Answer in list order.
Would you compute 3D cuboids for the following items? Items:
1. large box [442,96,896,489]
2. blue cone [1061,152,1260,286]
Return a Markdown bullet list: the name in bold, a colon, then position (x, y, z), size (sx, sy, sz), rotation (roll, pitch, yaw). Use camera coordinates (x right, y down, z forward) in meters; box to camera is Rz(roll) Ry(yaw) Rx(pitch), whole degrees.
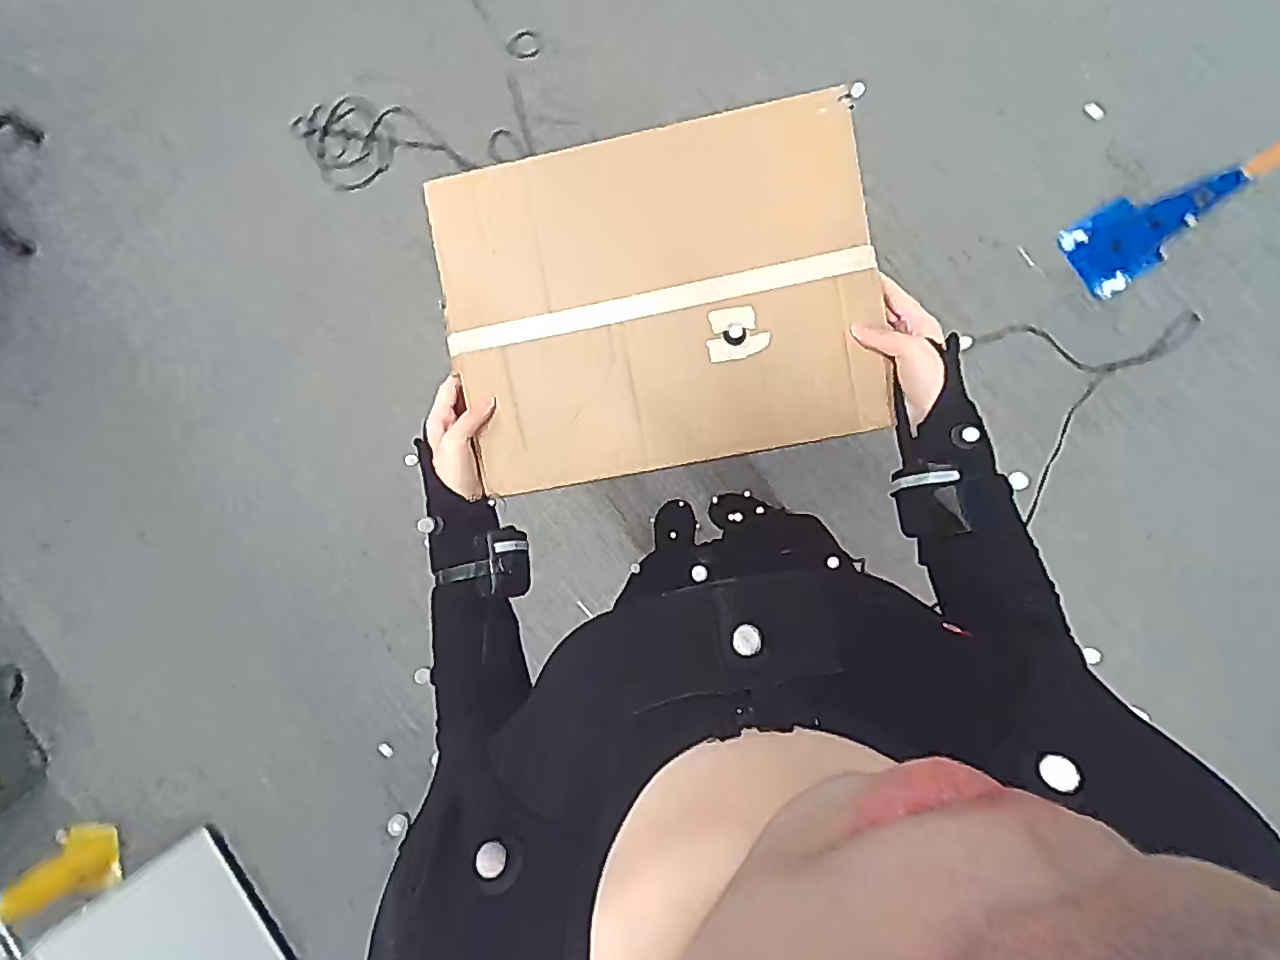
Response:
- **large box**: position (0.032, -0.181, 0.667), size (0.408, 0.320, 0.320), rotation (-9, 93, 3)
- **blue cone**: position (1.198, -0.617, 1.239), size (0.192, 0.380, 0.193), rotation (-32, 87, 4)
